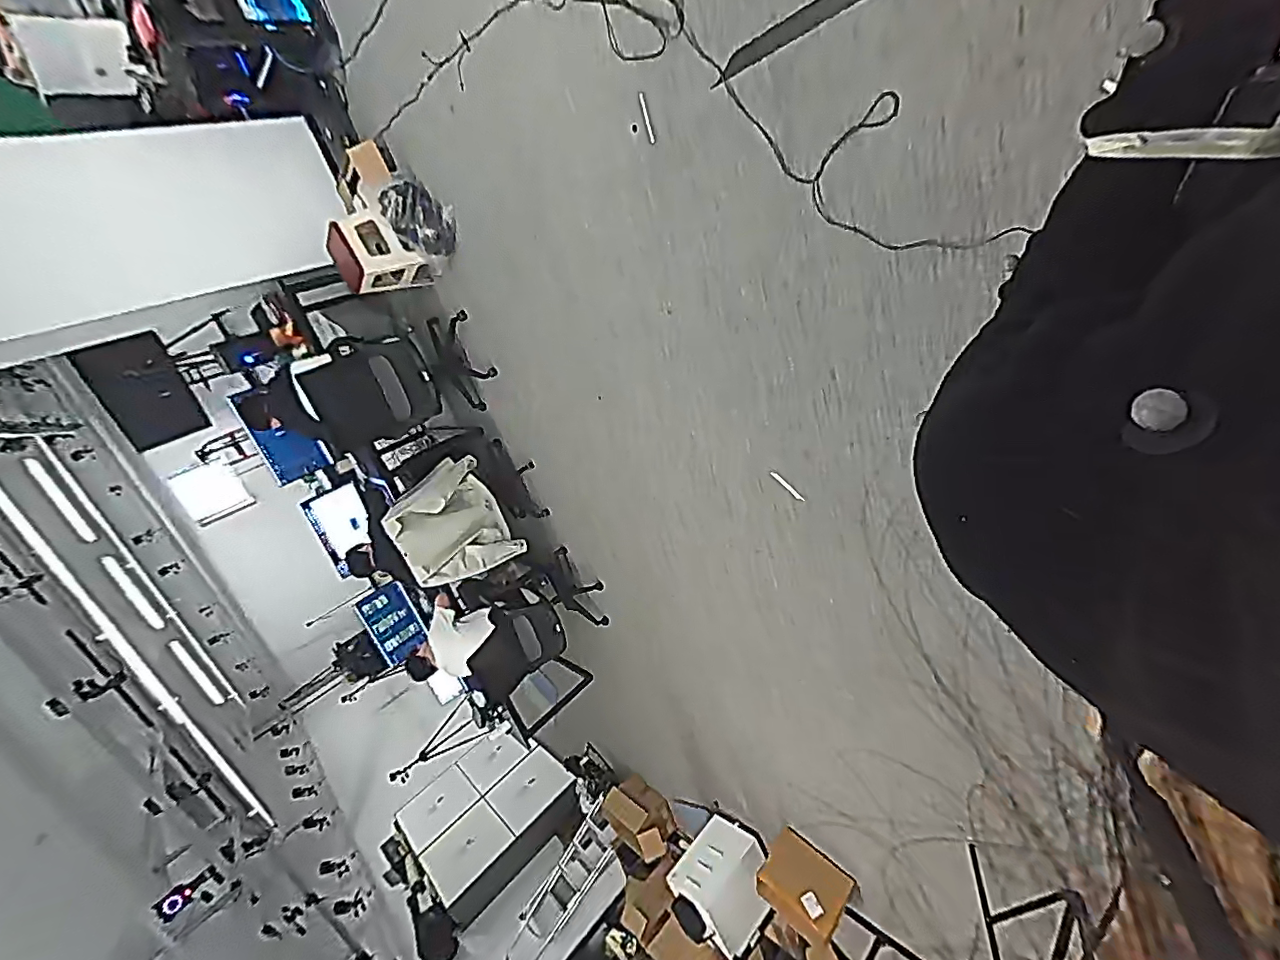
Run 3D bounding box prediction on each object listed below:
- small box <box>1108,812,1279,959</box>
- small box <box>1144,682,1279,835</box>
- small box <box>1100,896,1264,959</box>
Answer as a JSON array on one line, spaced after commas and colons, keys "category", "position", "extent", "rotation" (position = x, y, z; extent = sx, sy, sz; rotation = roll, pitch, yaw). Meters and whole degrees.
[{"category": "small box", "position": [0.895, 0.683, 0.873], "extent": [0.179, 0.176, 0.168], "rotation": [11, 126, 47]}, {"category": "small box", "position": [1.120, 0.529, 1.056], "extent": [0.179, 0.176, 0.168], "rotation": [7, 122, 50]}, {"category": "small box", "position": [0.783, 0.758, 0.784], "extent": [0.179, 0.176, 0.168], "rotation": [12, 125, 46]}]
